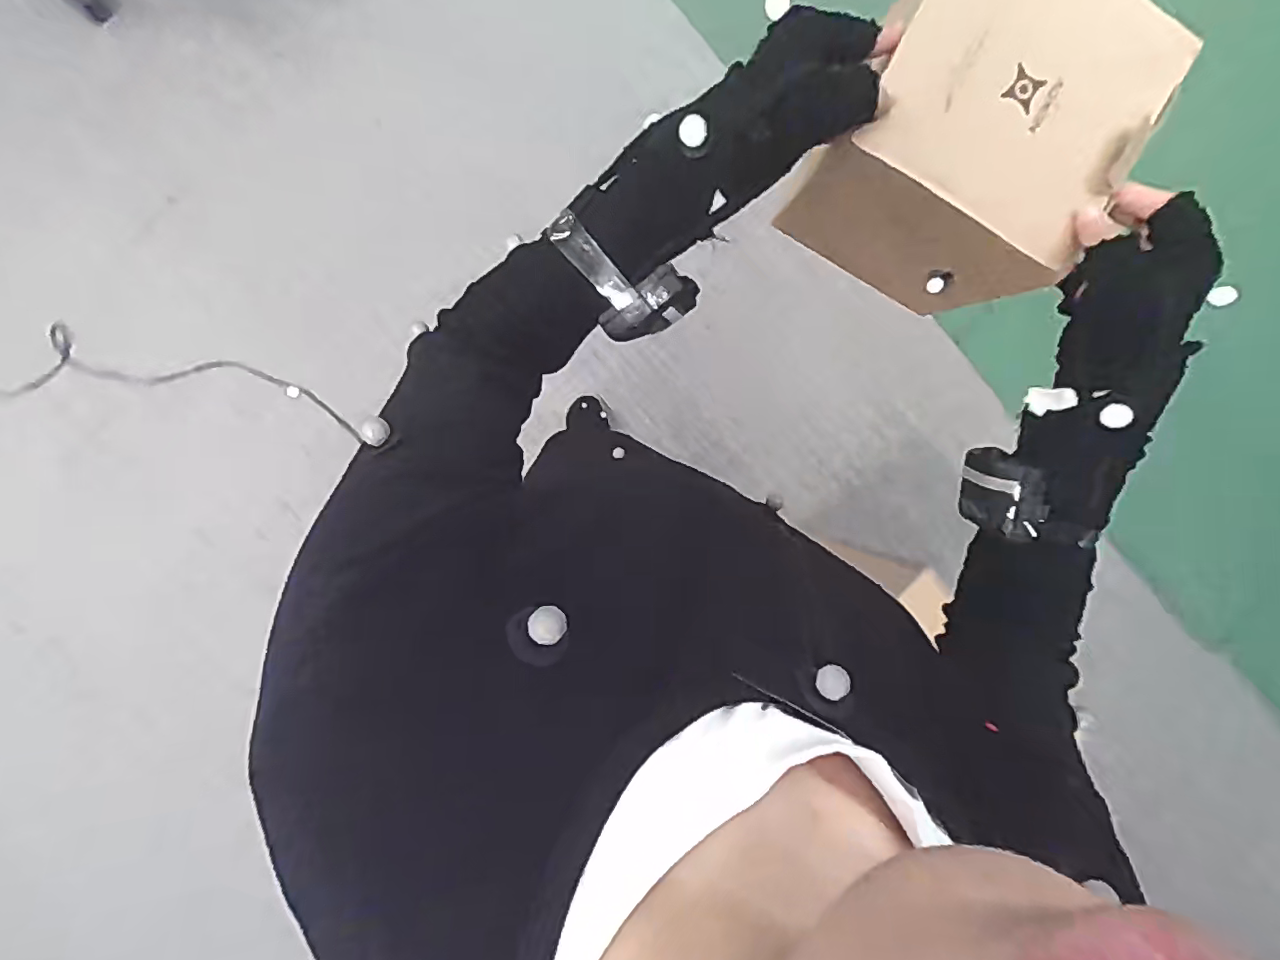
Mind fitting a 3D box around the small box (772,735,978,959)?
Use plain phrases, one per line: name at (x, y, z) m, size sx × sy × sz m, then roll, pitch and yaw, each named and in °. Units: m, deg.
small box at (0.319, 0.508, 0.774) m, size 0.179 × 0.176 × 0.168 m, roll -42°, pitch 89°, yaw -2°
